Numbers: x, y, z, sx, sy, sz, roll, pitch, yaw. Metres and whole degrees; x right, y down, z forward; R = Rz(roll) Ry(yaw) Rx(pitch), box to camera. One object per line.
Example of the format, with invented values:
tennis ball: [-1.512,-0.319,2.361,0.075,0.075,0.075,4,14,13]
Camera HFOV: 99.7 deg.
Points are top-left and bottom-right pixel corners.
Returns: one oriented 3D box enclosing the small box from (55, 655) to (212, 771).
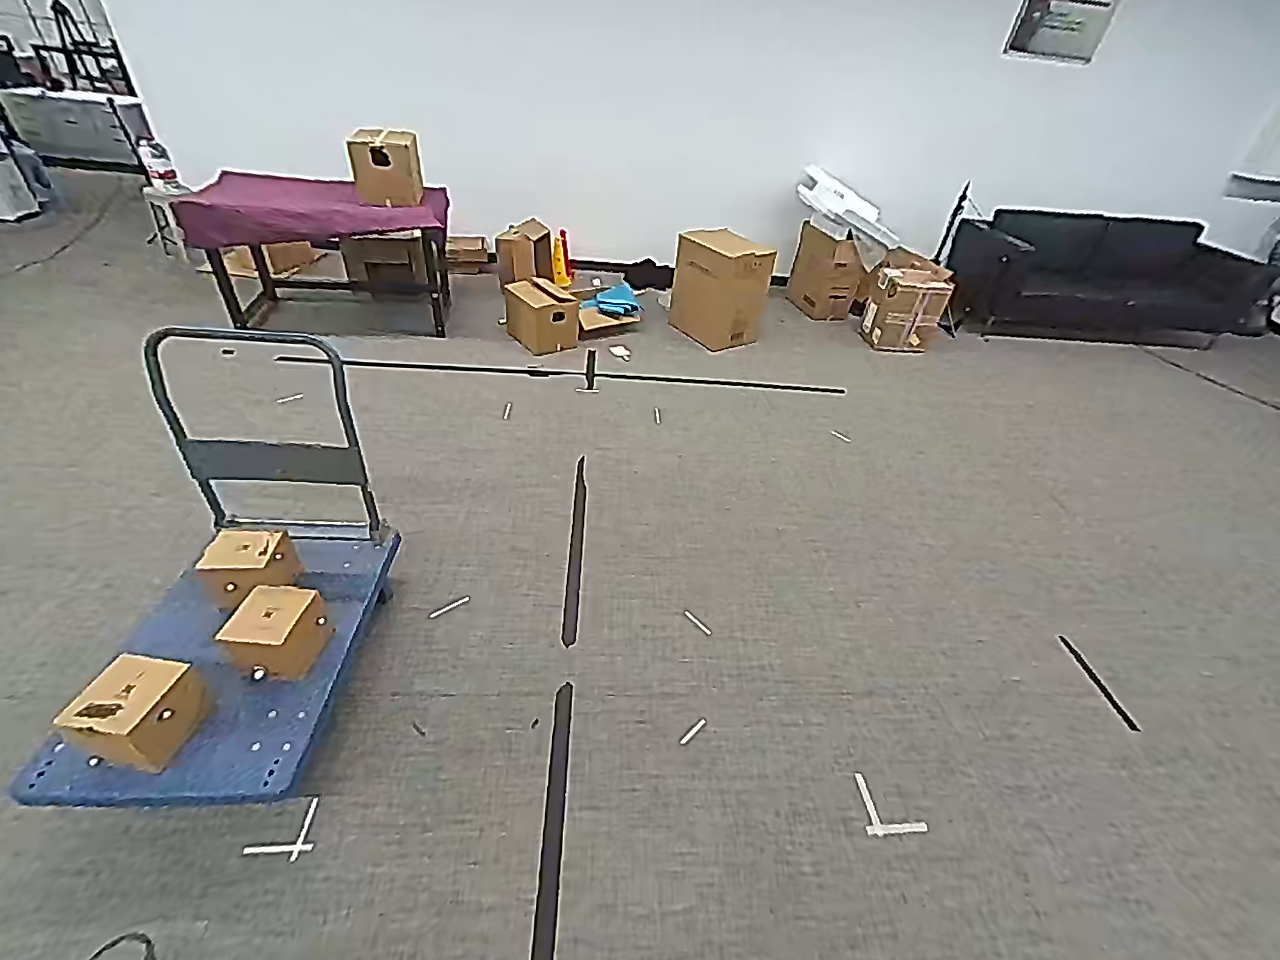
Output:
small box: [-1.139,0.535,1.238,0.168,0.176,0.179,9,36,2]

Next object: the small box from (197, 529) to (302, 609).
small box: [-1.137,0.263,1.591,0.179,0.176,0.168,0,39,-8]

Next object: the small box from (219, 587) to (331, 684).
small box: [-0.951,0.410,1.432,0.168,0.176,0.179,5,39,0]
